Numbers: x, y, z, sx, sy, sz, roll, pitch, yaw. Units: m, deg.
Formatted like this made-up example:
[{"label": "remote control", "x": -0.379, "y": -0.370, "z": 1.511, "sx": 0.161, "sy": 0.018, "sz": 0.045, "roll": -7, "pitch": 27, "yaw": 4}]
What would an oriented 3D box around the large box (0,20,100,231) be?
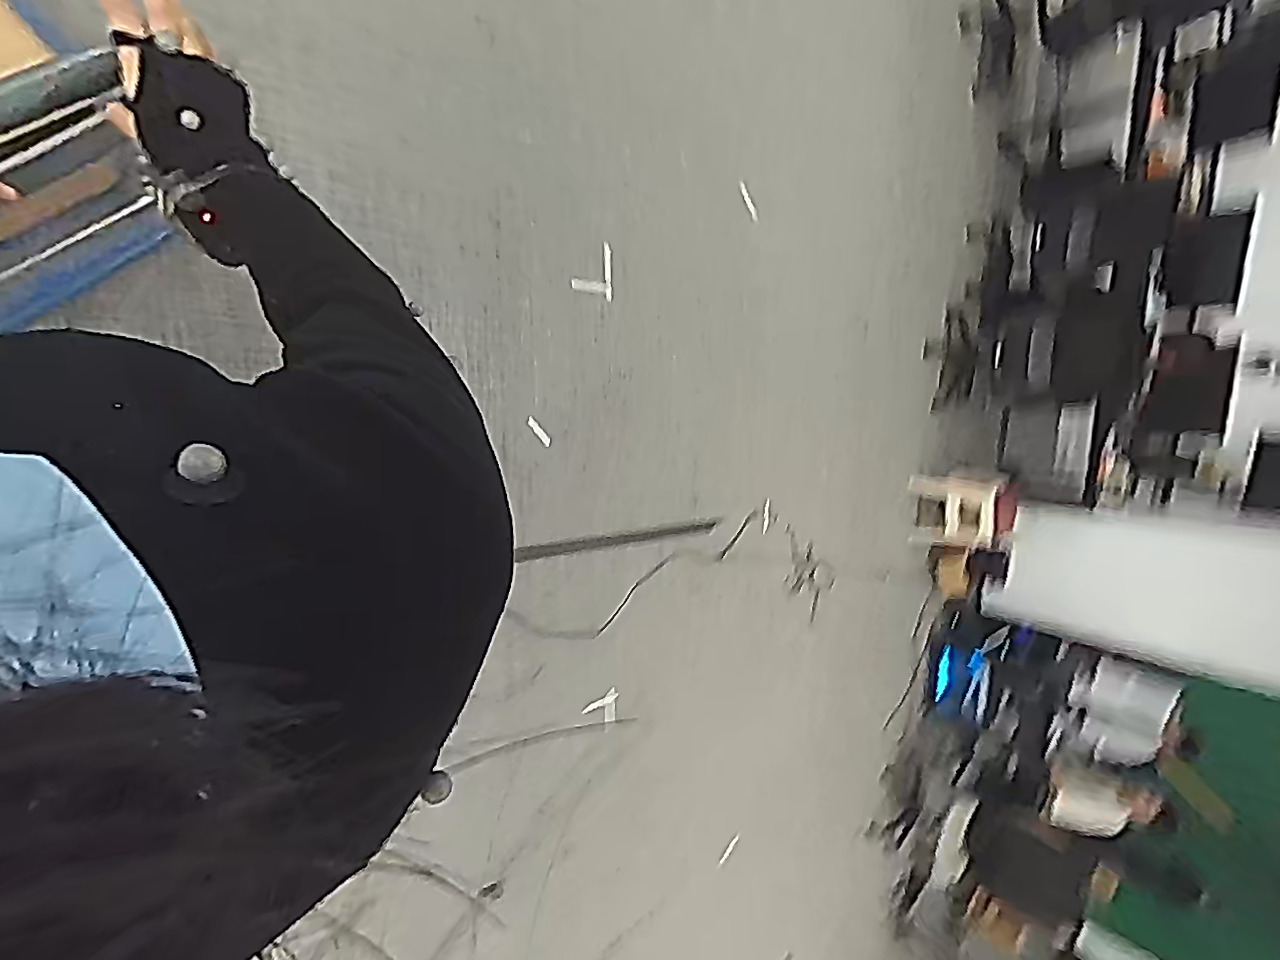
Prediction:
[{"label": "large box", "x": -1.011, "y": -0.466, "z": 0.655, "sx": 0.408, "sy": 0.320, "sz": 0.320, "roll": -51, "pitch": 125, "yaw": -24}]
